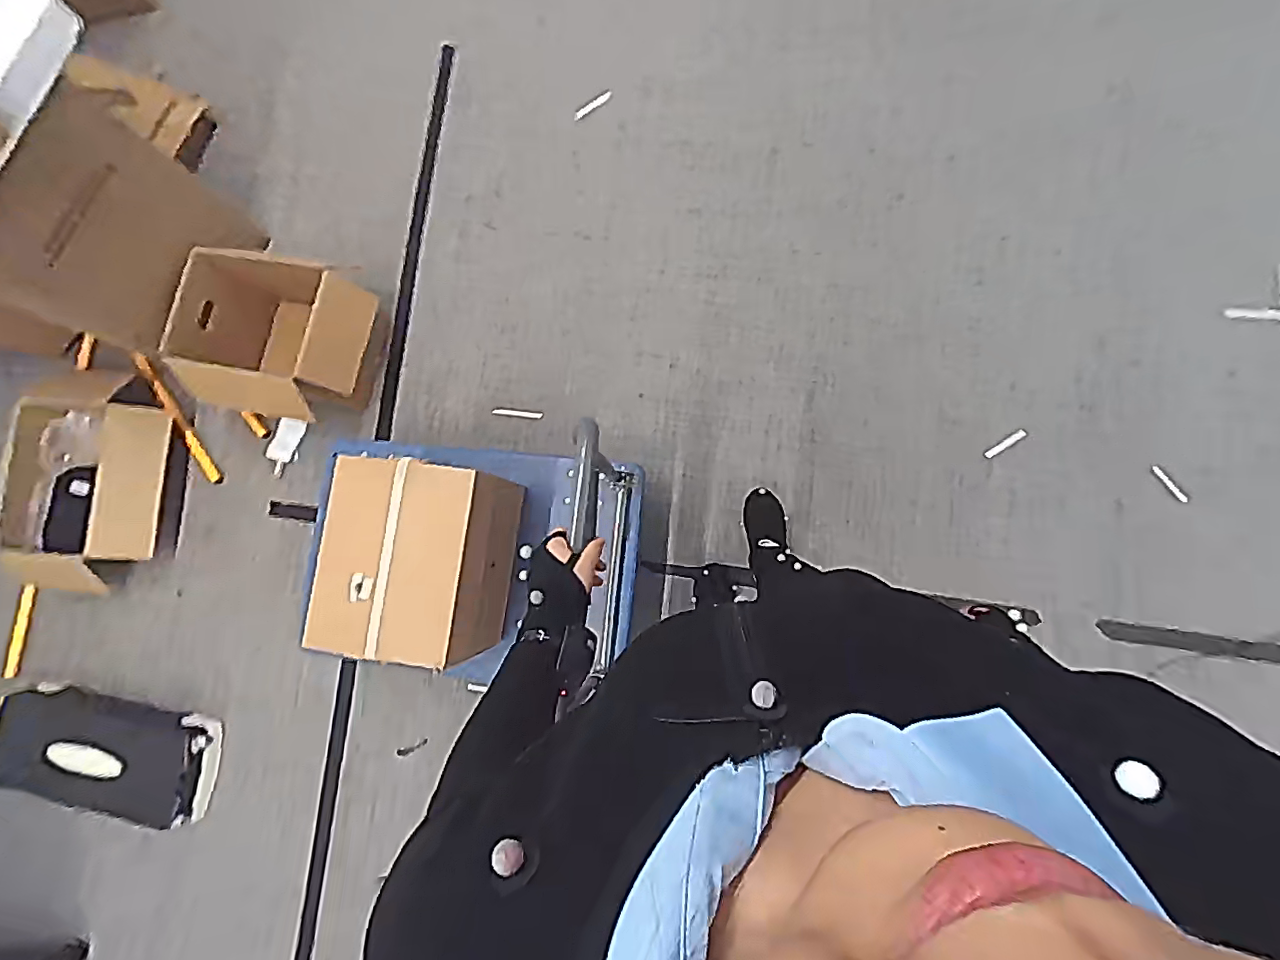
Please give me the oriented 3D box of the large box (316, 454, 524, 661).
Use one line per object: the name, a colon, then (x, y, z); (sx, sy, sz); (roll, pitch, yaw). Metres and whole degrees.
large box: (-0.484, 0.166, 1.262); (0.320, 0.320, 0.408); (6, 85, 9)
